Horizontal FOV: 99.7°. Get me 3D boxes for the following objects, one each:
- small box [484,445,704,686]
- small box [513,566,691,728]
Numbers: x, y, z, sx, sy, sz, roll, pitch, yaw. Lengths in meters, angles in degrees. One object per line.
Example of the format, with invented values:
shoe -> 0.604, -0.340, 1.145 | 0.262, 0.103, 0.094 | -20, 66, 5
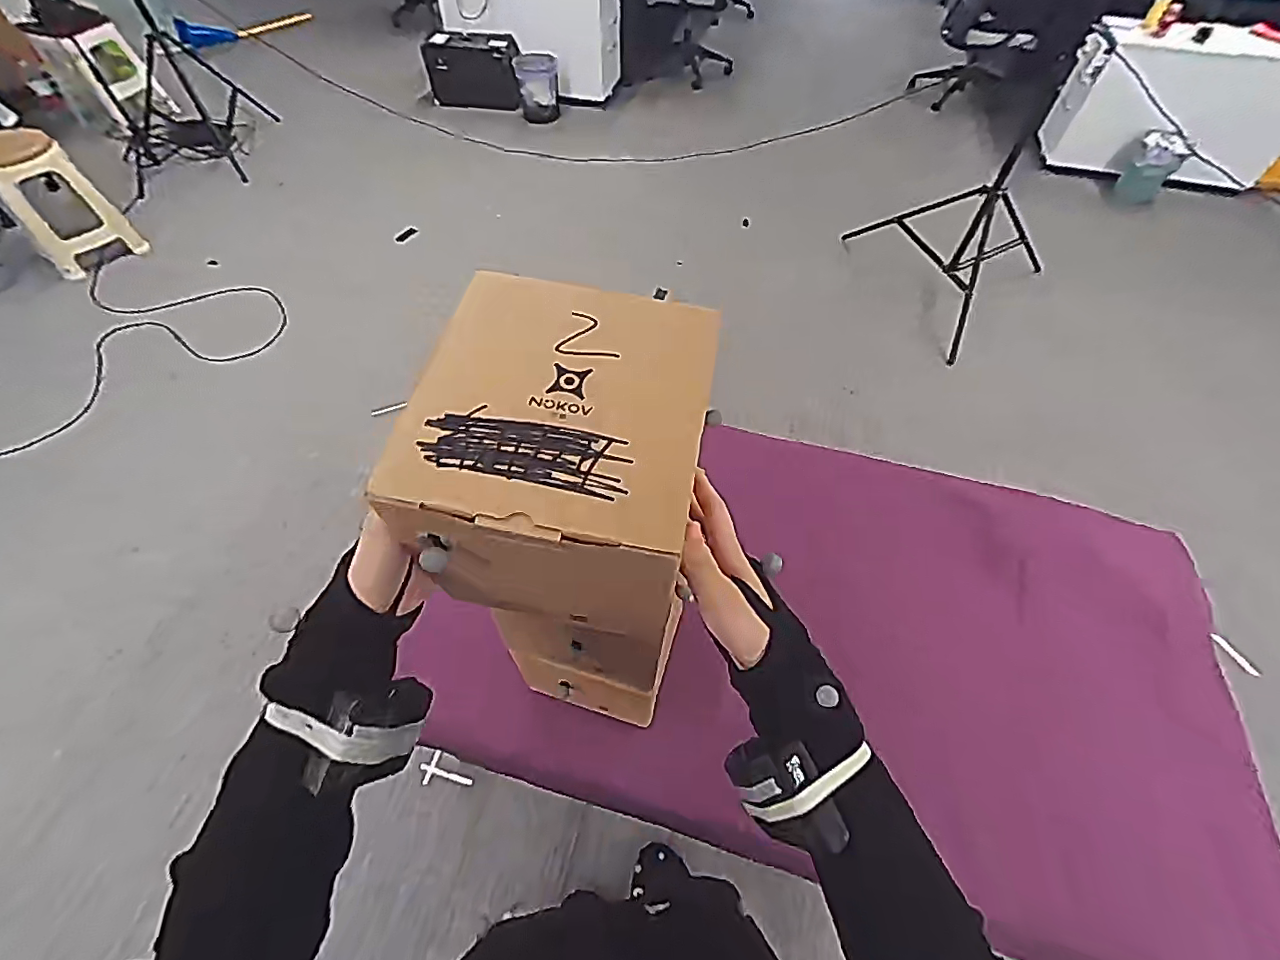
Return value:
small box -> -0.037, 0.095, 0.566 | 0.168, 0.176, 0.179 | 13, 55, 8
small box -> -0.040, 0.196, 0.695 | 0.168, 0.176, 0.179 | 15, 55, 9
